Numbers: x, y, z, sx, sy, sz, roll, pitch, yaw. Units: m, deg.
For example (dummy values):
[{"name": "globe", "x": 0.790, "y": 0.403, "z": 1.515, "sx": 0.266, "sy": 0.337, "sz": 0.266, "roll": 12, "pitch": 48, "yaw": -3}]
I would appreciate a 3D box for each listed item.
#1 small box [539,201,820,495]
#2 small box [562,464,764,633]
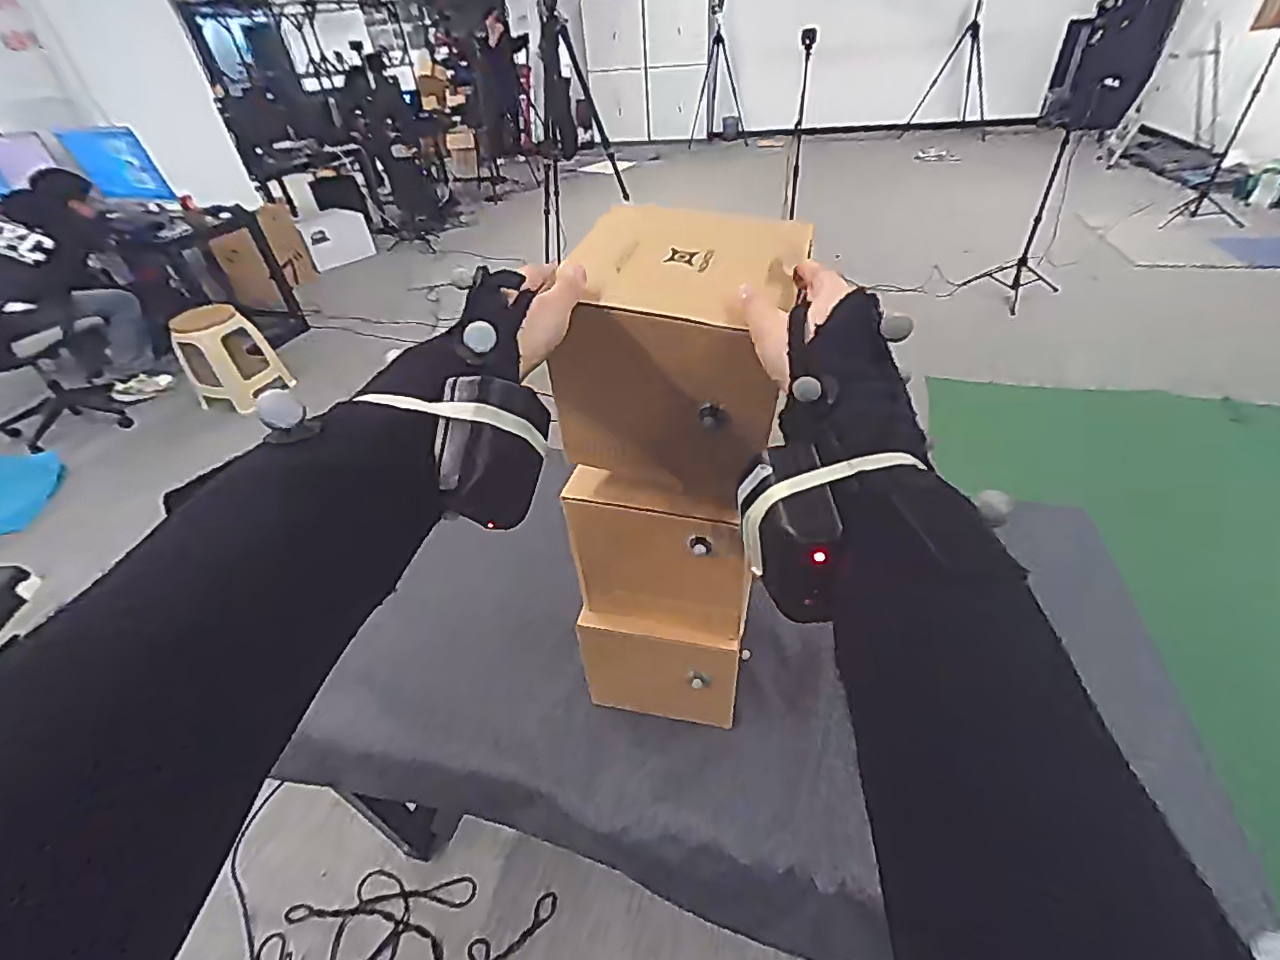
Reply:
[{"name": "small box", "x": 0.039, "y": -0.108, "z": 0.456, "sx": 0.179, "sy": 0.176, "sz": 0.168, "roll": 11, "pitch": 49, "yaw": 12}, {"name": "small box", "x": 0.036, "y": 0.042, "z": 0.586, "sx": 0.179, "sy": 0.176, "sz": 0.168, "roll": 8, "pitch": 40, "yaw": 14}]
